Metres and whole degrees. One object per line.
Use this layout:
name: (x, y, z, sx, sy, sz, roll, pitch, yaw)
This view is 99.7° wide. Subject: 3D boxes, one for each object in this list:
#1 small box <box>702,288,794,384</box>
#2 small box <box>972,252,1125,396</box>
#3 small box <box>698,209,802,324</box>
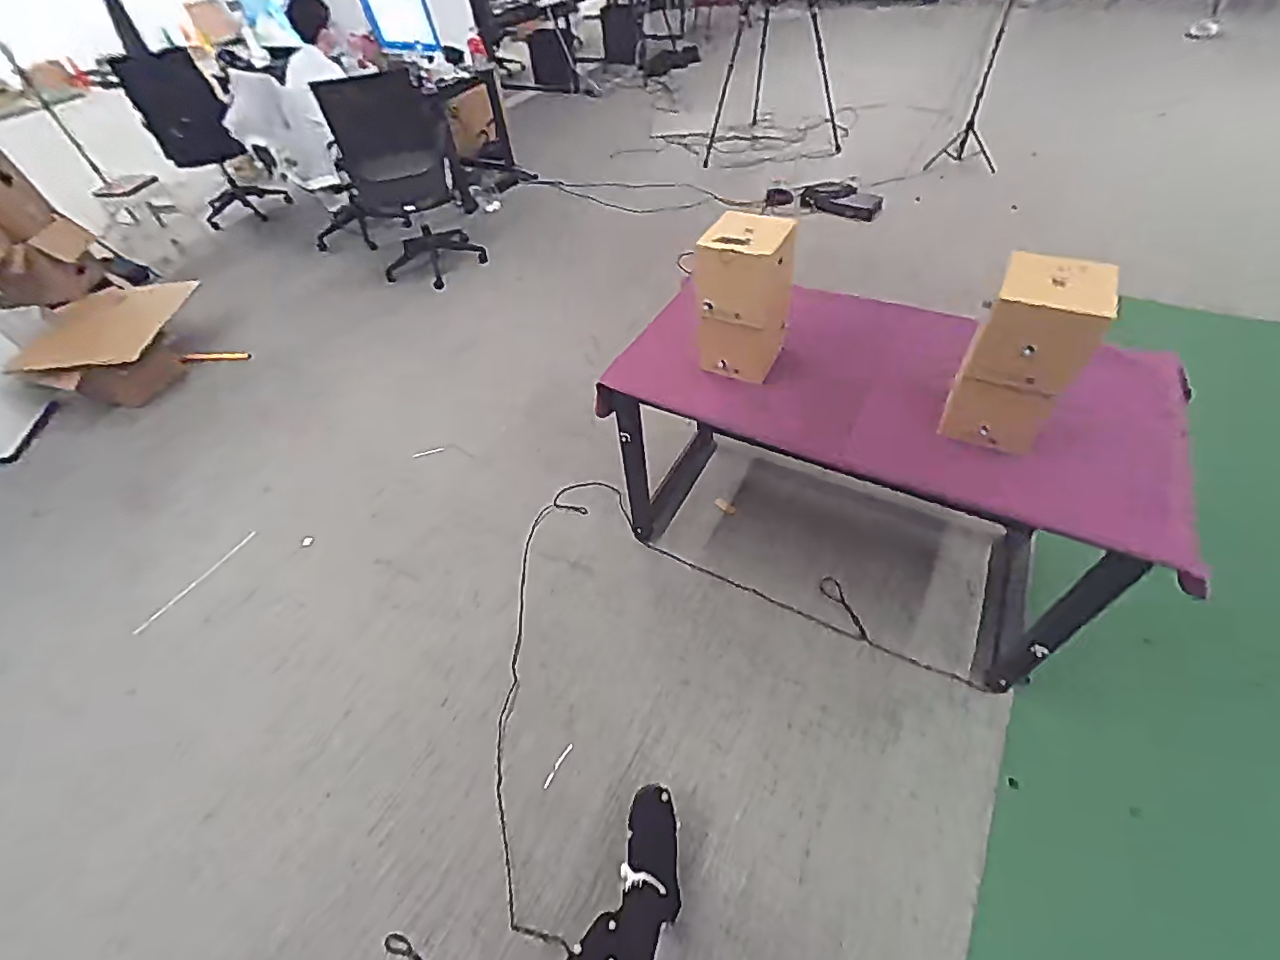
small box: (0.257, -0.365, 1.314, 0.168, 0.176, 0.179, 21, 55, 22)
small box: (0.726, -0.279, 0.974, 0.168, 0.176, 0.179, 22, 55, 22)
small box: (0.239, -0.466, 1.186, 0.168, 0.176, 0.179, 21, 53, 22)
